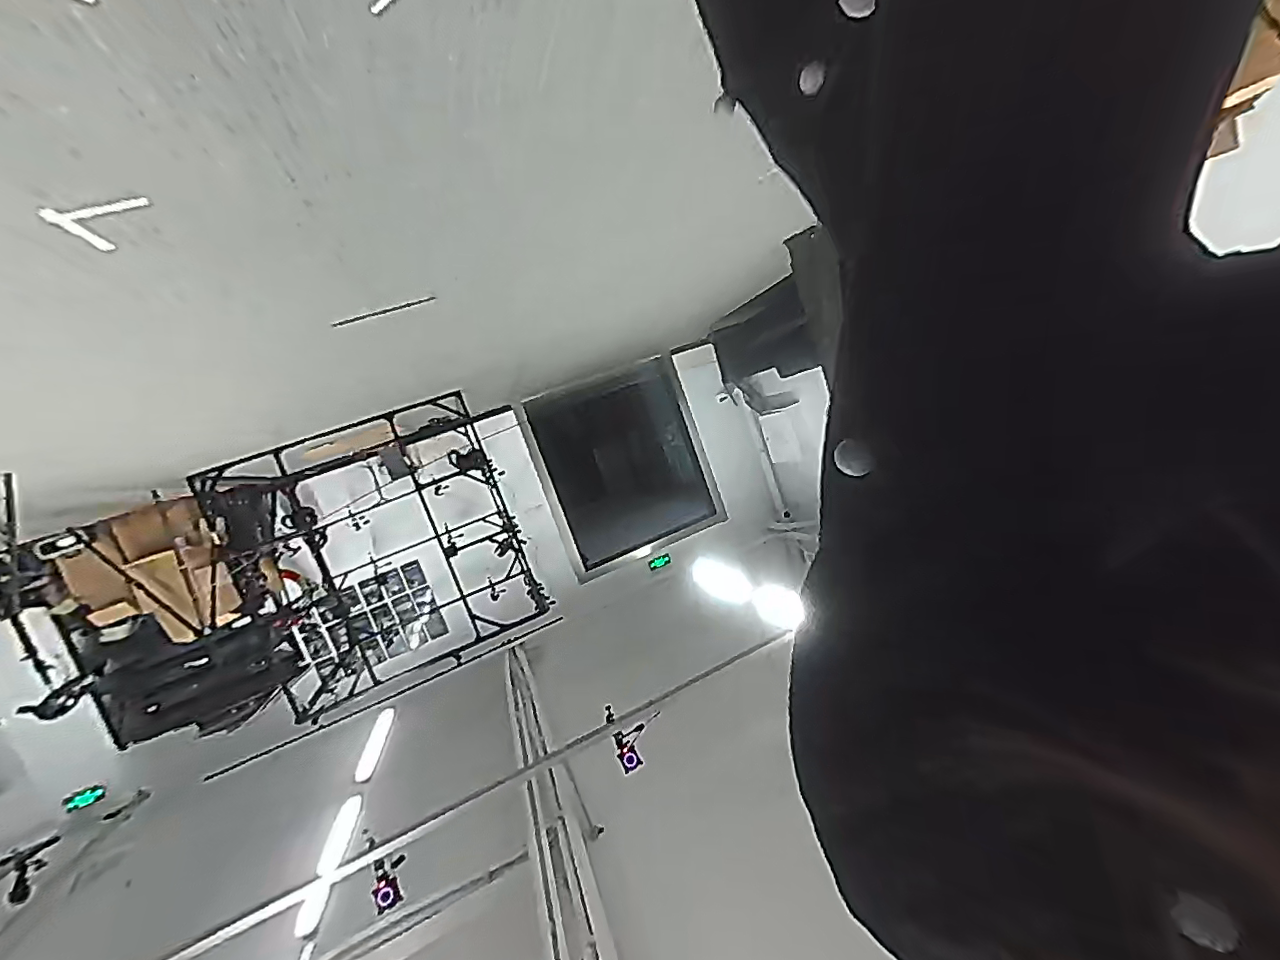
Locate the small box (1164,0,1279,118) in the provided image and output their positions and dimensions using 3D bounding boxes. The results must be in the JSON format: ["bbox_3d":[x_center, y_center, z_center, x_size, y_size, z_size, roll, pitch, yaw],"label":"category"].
[{"bbox_3d":[1.158,-0.837,1.028,0.179,0.176,0.168,-22,-172,-16],"label":"small box"}]
